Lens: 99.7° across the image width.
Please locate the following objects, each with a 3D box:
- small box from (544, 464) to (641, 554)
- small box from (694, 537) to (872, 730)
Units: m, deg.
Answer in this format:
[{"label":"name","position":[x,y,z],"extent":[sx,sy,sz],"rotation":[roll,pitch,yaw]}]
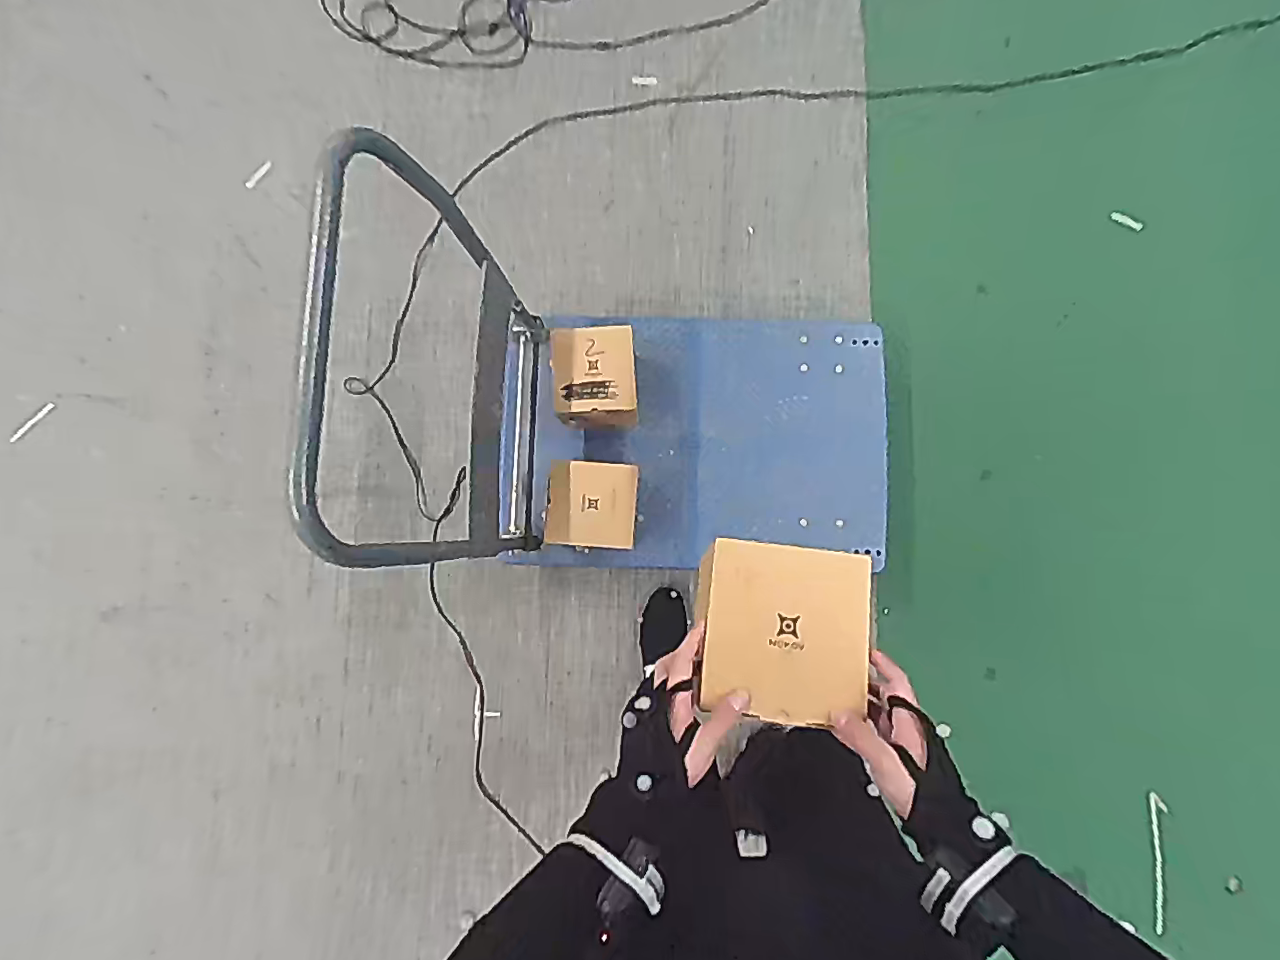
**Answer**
[{"label":"small box","position":[-0.092,0.064,1.130],"extent":[0.179,0.176,0.168],"rotation":[4,85,1]},{"label":"small box","position":[0.156,0.174,0.633],"extent":[0.168,0.176,0.179],"rotation":[6,76,3]}]
